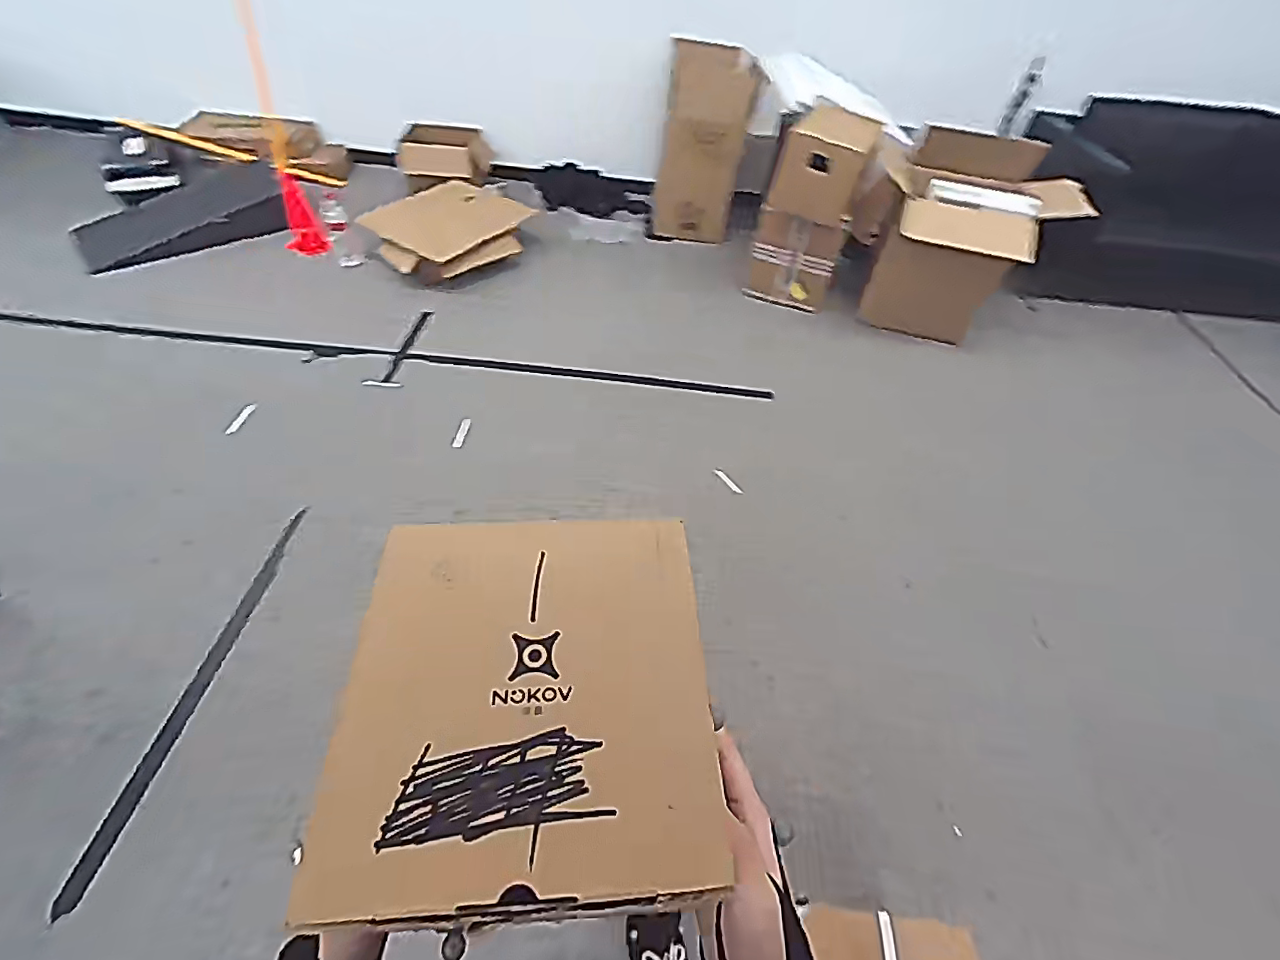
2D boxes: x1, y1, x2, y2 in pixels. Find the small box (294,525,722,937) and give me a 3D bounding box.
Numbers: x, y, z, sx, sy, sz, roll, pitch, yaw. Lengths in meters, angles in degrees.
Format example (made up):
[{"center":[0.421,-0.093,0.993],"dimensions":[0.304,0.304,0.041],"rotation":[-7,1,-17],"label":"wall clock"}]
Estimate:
[{"center":[-0.056,0.147,0.317],"dimensions":[0.168,0.176,0.179],"rotation":[-2,49,-5],"label":"small box"}]
